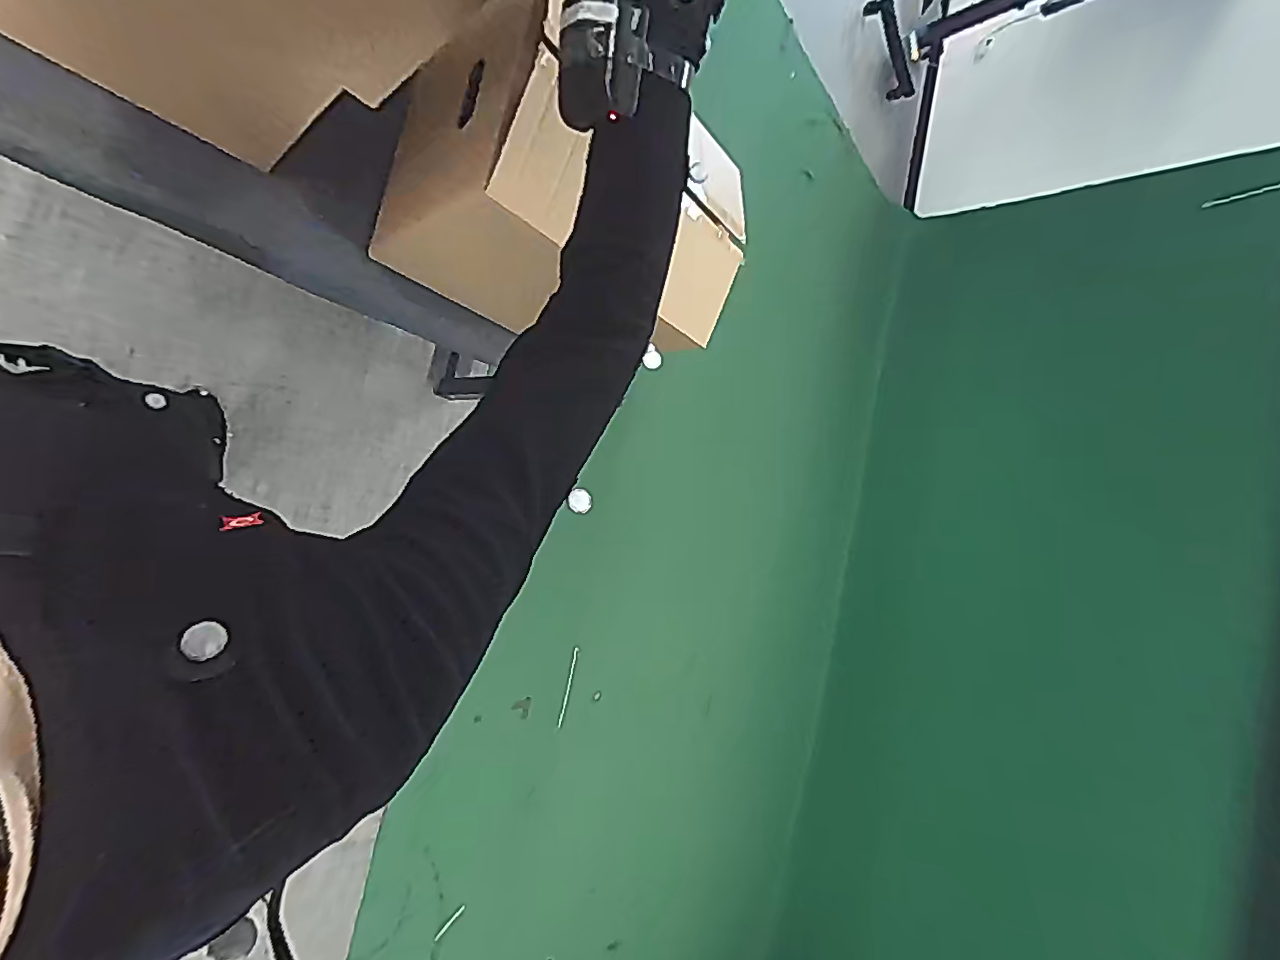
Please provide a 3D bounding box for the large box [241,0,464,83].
[{"bbox_3d":[-0.223,-0.509,0.239,0.408,0.320,0.320,19,82,-49],"label":"large box"}]
